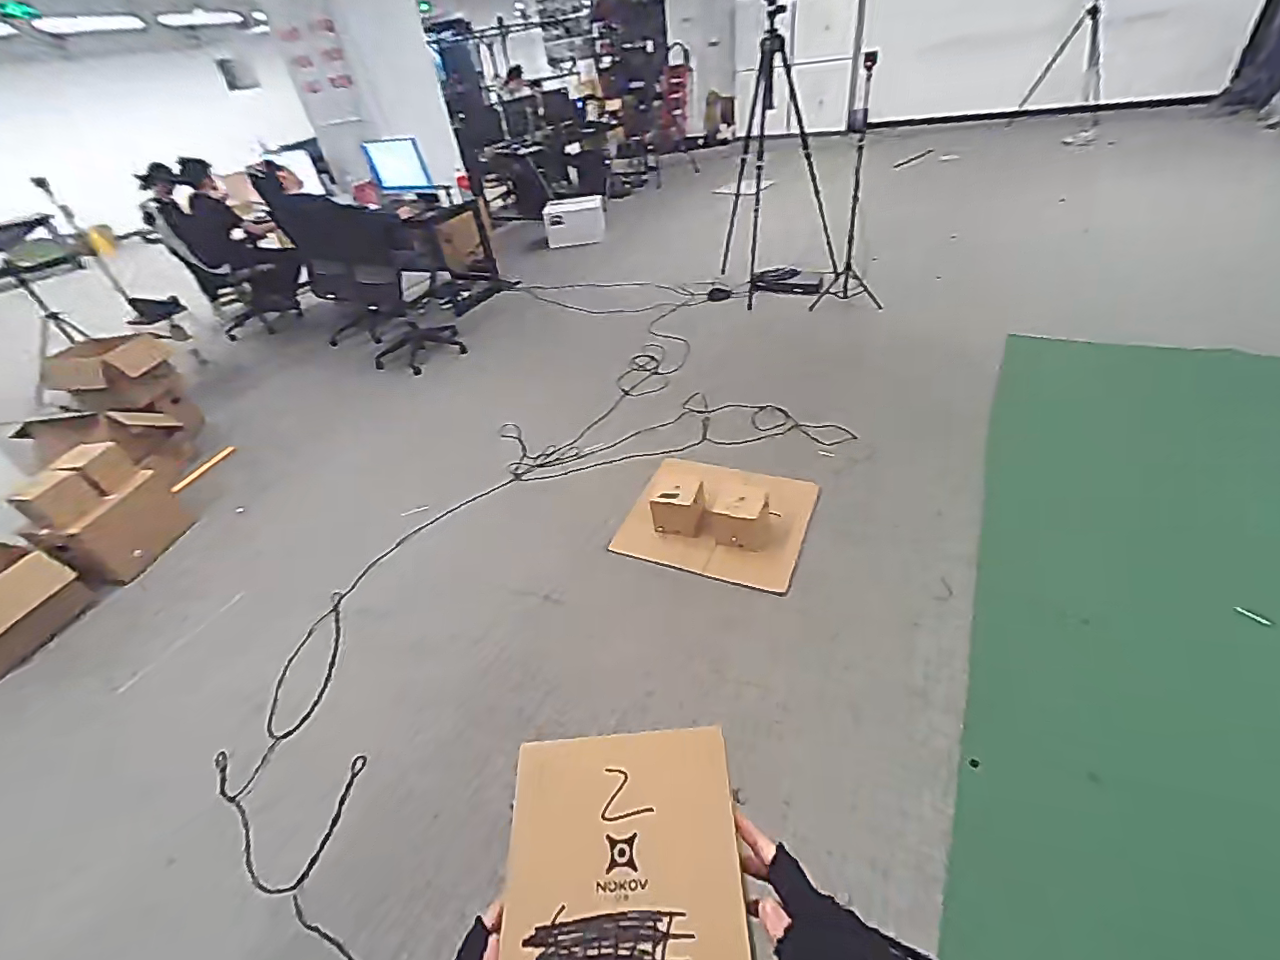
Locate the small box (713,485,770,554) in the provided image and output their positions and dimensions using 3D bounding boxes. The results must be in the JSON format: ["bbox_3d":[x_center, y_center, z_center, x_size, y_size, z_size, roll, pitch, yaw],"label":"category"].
[{"bbox_3d":[0.382,0.146,2.019,0.168,0.176,0.179,10,43,25],"label":"small box"}]

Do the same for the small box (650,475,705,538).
[{"bbox_3d":[0.152,0.106,2.115,0.168,0.176,0.179,7,41,21],"label":"small box"}]
